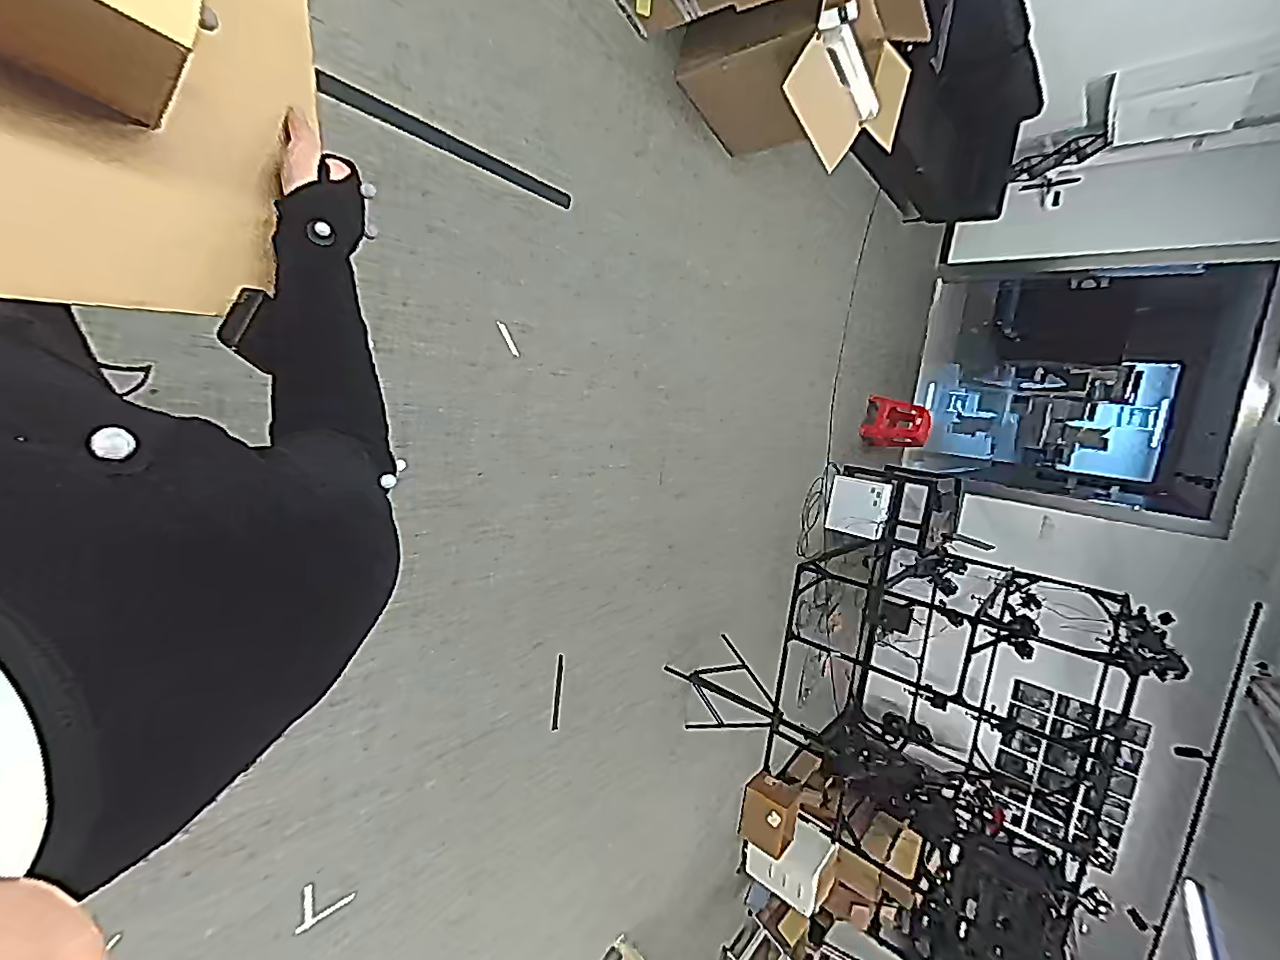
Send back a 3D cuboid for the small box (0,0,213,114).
[{"bbox_3d":[-0.389,-0.372,0.342,0.179,0.176,0.168,9,92,-47],"label":"small box"}]
